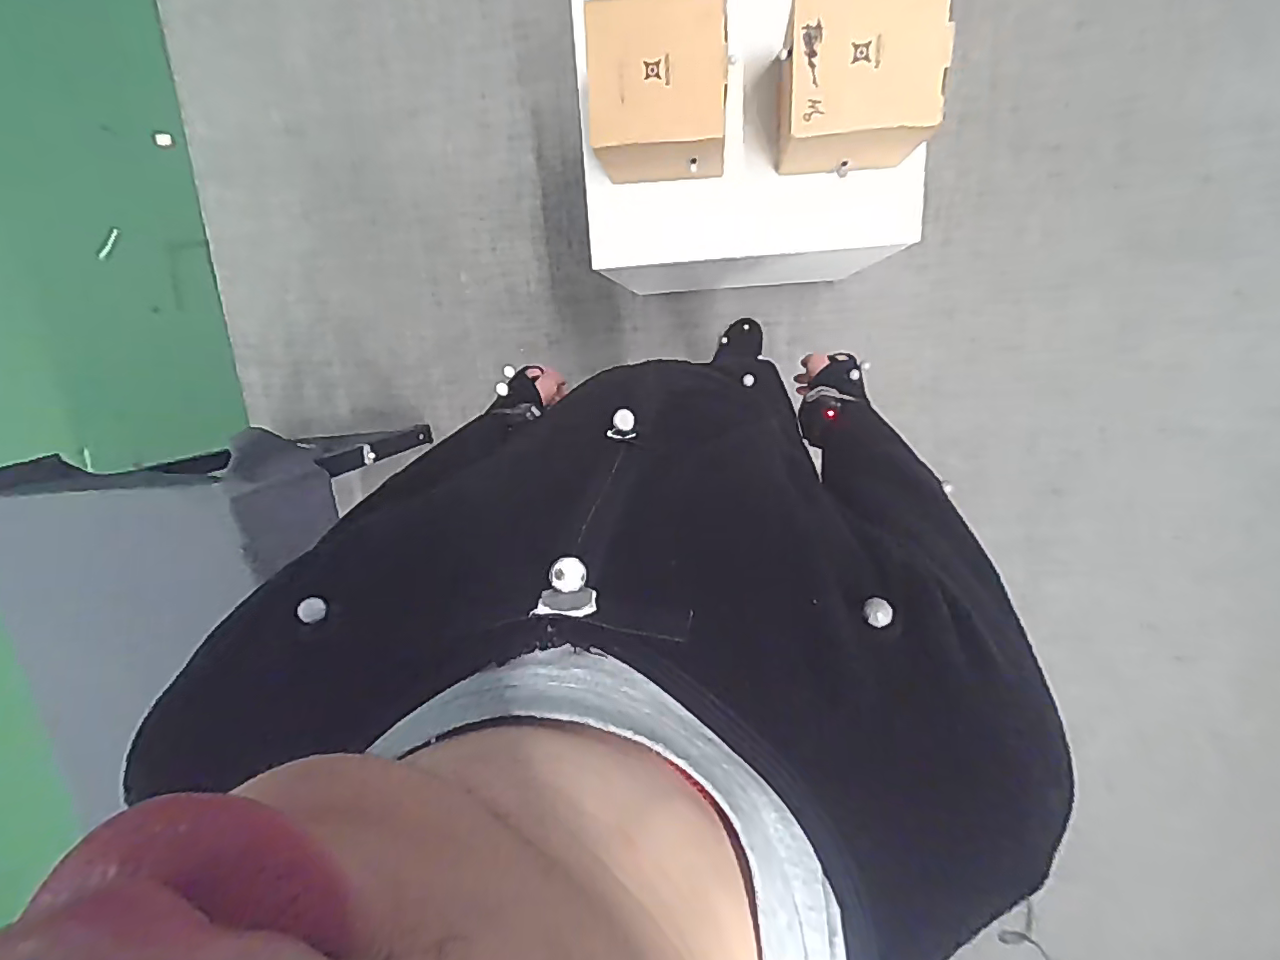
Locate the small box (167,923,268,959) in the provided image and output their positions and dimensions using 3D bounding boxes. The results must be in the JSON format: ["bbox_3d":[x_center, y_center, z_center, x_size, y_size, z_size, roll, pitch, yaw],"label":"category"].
[{"bbox_3d":[-0.931,1.110,1.164,0.168,0.176,0.179,-3,104,8],"label":"small box"}]

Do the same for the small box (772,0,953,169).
[{"bbox_3d":[0.275,-0.520,0.702,0.179,0.176,0.168,0,105,7],"label":"small box"}]

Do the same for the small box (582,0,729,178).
[{"bbox_3d":[0.027,-0.525,0.732,0.179,0.176,0.168,0,104,7],"label":"small box"}]
